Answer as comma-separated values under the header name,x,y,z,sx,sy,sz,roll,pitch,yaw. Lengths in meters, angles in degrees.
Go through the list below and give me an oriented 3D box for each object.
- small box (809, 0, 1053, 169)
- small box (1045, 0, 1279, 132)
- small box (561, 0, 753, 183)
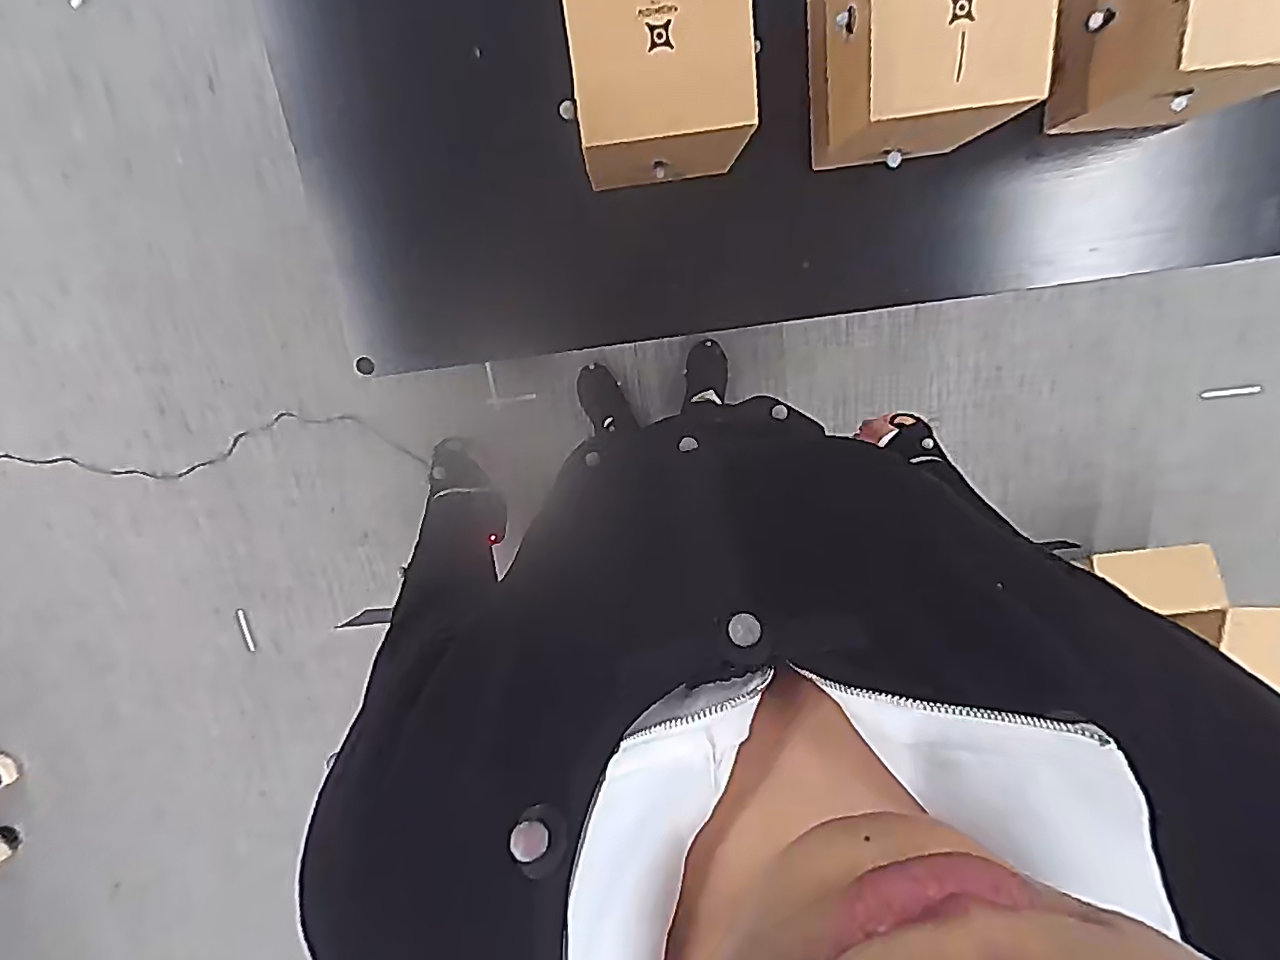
name,x,y,z,sx,sy,sz,roll,pitch,yaw
small box,0.278,-0.444,0.551,0.168,0.176,0.179,-7,106,1
small box,0.557,-0.475,0.548,0.179,0.176,0.168,-4,106,2
small box,0.014,-0.420,0.552,0.168,0.176,0.179,-7,106,0
